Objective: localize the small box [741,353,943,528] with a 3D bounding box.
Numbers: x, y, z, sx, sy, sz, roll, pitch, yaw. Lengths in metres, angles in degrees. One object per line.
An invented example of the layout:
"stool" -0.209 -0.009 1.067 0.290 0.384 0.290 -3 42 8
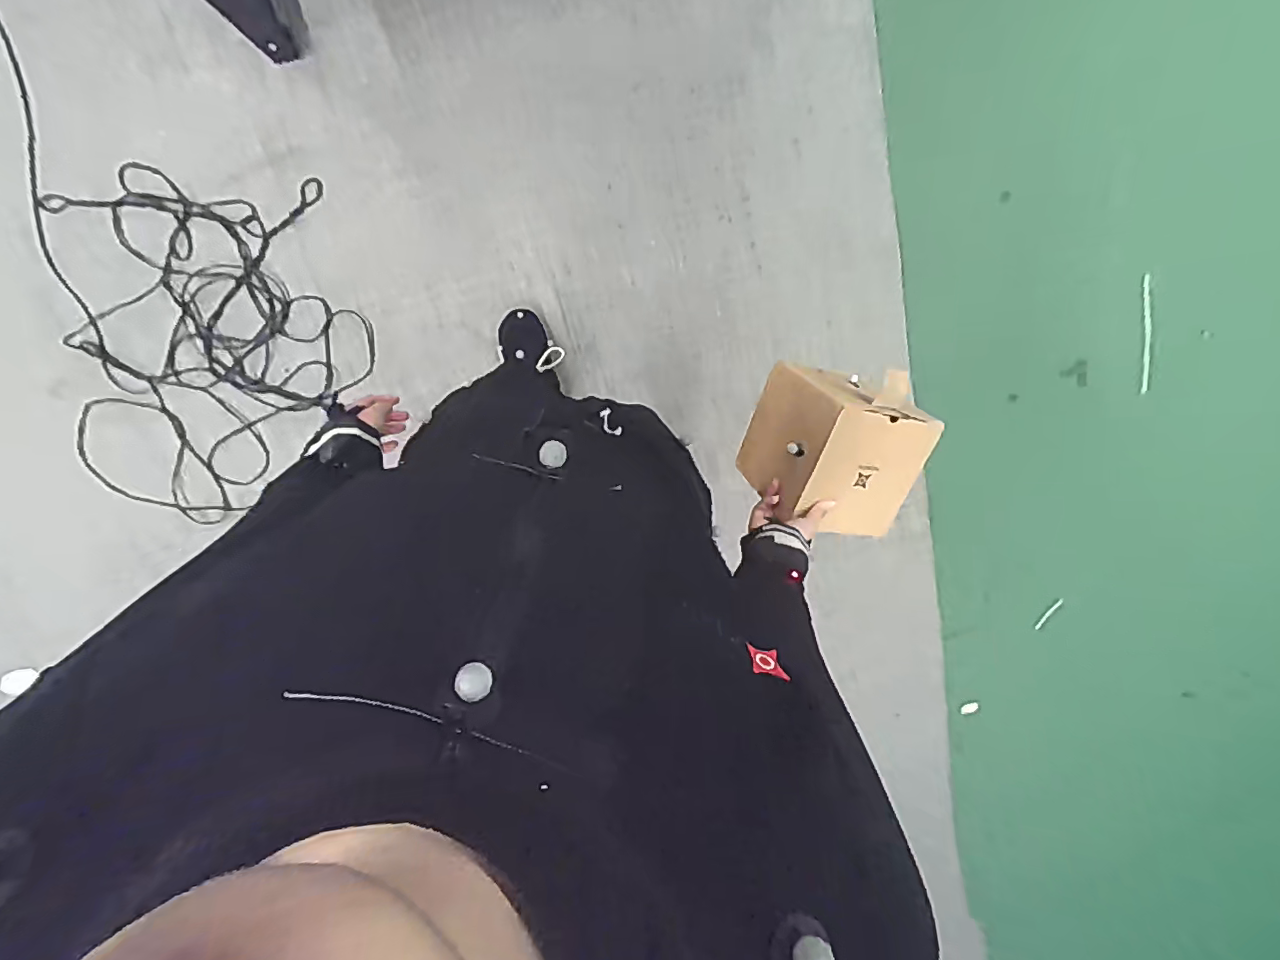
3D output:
"small box" 0.260 -0.055 0.745 0.168 0.176 0.179 5 117 -22
